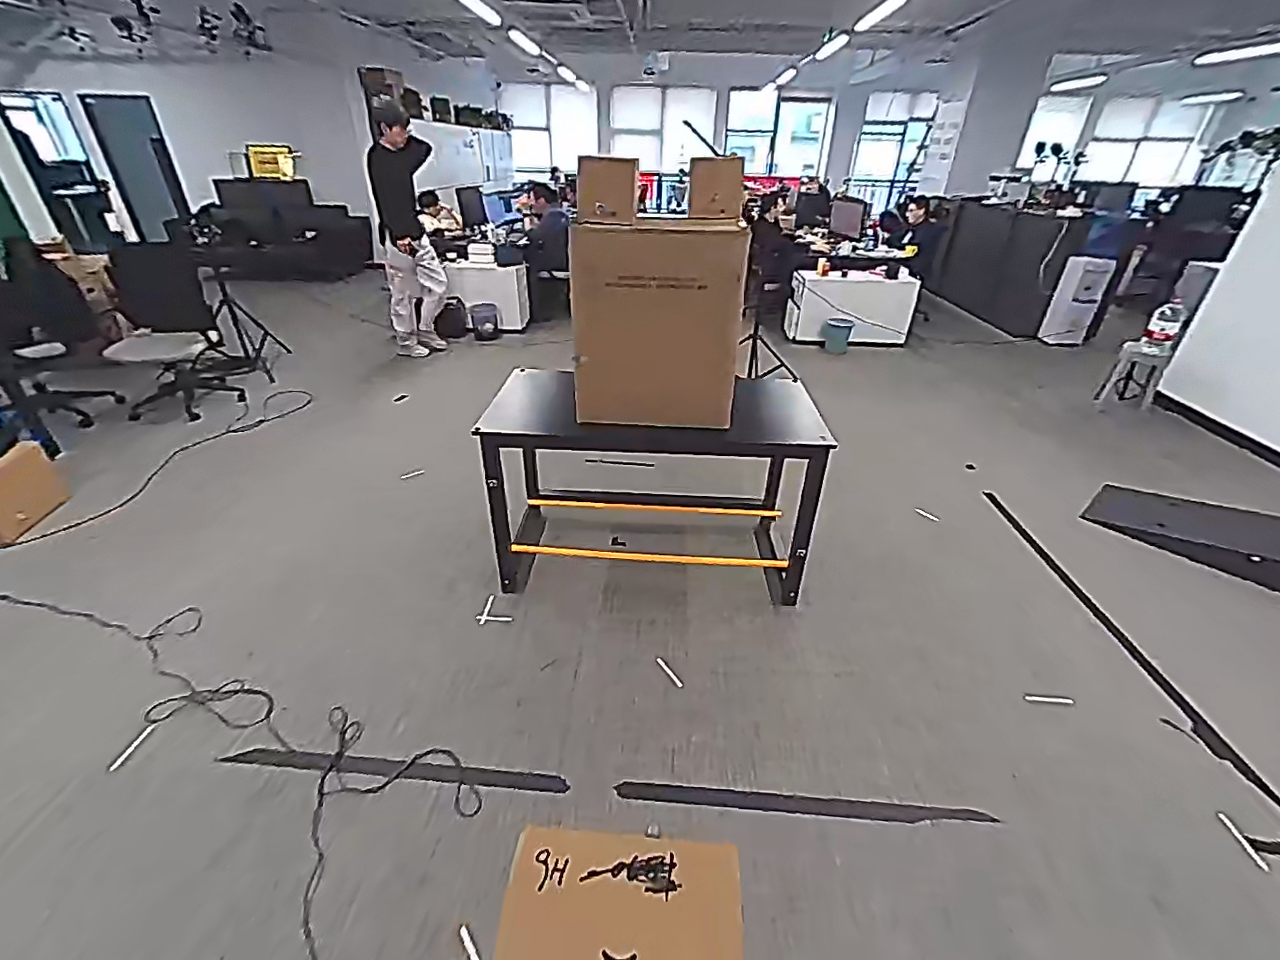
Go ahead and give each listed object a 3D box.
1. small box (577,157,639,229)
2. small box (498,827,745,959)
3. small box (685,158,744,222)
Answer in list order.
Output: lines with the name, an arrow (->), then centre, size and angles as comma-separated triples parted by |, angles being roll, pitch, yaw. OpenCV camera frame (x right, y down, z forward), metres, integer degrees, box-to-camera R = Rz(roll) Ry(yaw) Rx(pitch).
small box -> -0.093, -0.842, 1.582 | 0.168, 0.176, 0.179 | 3, 33, 1
small box -> -0.011, 0.384, 0.398 | 0.168, 0.176, 0.179 | 3, 44, 4
small box -> 0.233, -0.926, 1.730 | 0.168, 0.176, 0.179 | 1, 29, 2
